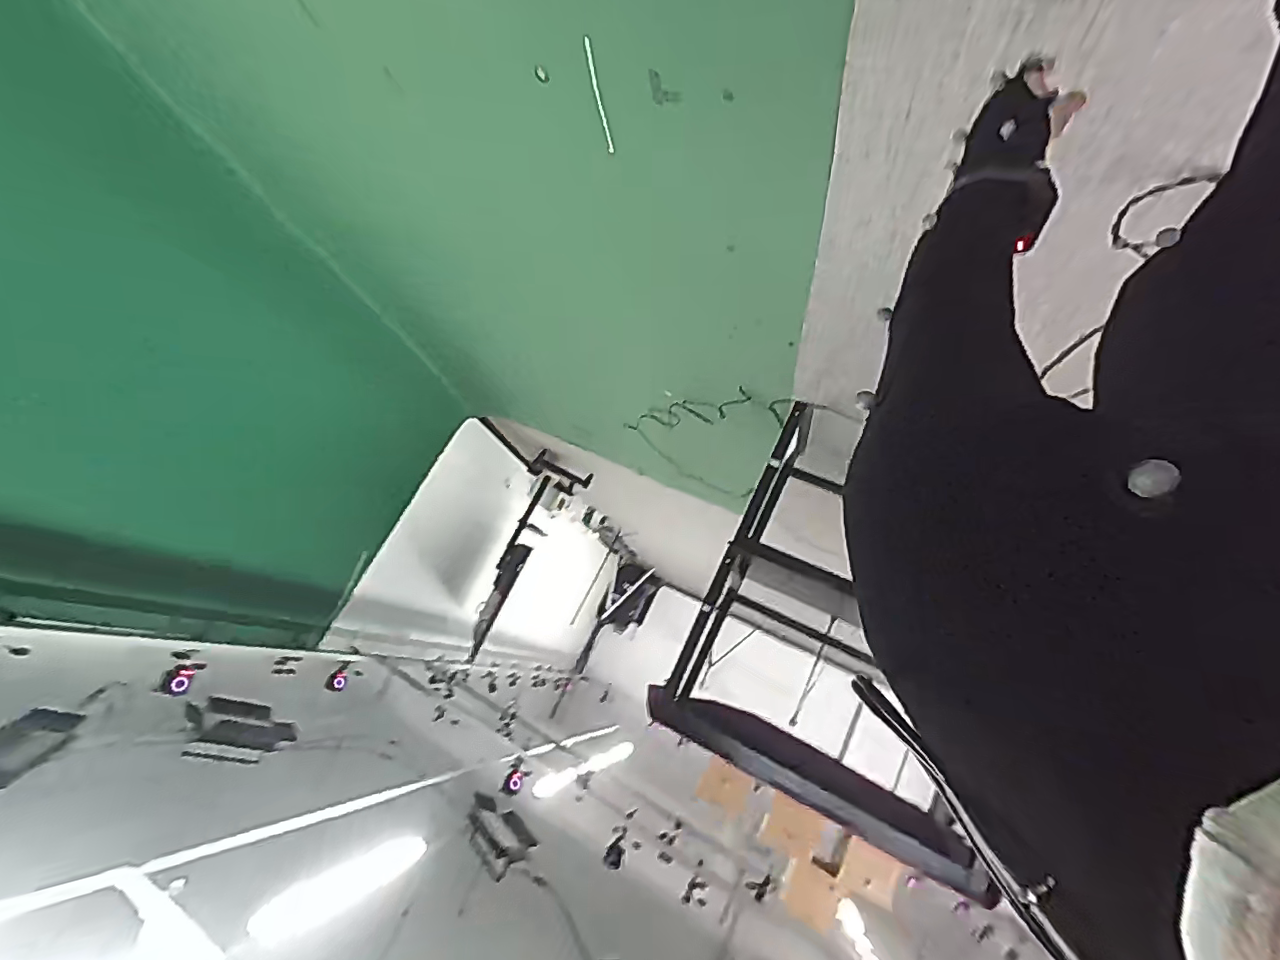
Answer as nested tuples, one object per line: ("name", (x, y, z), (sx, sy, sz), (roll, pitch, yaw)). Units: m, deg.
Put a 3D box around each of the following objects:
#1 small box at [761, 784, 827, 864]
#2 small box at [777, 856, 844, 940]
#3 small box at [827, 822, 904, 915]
("small box", (0.546, 1.218, 1.931), (0.179, 0.176, 0.168), (21, 165, 21))
("small box", (0.587, 1.412, 1.861), (0.168, 0.176, 0.179), (24, 166, 19))
("small box", (0.769, 1.315, 1.846), (0.179, 0.176, 0.168), (25, 166, 16))
